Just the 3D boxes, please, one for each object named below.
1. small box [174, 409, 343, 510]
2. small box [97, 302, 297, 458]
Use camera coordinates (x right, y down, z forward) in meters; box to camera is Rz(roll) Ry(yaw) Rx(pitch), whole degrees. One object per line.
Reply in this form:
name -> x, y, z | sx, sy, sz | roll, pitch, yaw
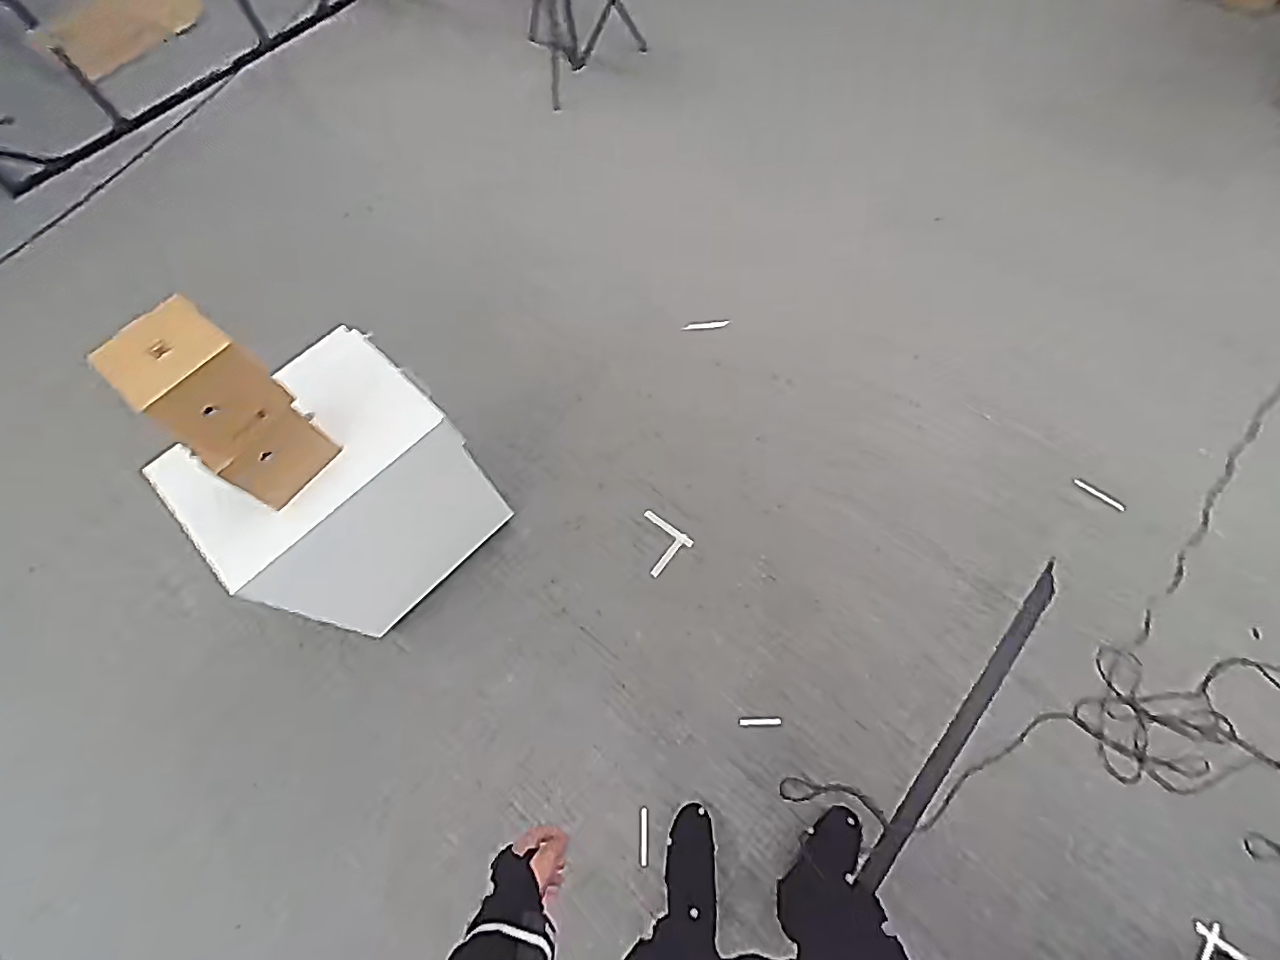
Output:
small box -> -0.738, -0.068, 1.066 | 0.168, 0.176, 0.179 | 32, 70, 17
small box -> -0.744, -0.161, 0.931 | 0.179, 0.176, 0.168 | 35, 72, 19
